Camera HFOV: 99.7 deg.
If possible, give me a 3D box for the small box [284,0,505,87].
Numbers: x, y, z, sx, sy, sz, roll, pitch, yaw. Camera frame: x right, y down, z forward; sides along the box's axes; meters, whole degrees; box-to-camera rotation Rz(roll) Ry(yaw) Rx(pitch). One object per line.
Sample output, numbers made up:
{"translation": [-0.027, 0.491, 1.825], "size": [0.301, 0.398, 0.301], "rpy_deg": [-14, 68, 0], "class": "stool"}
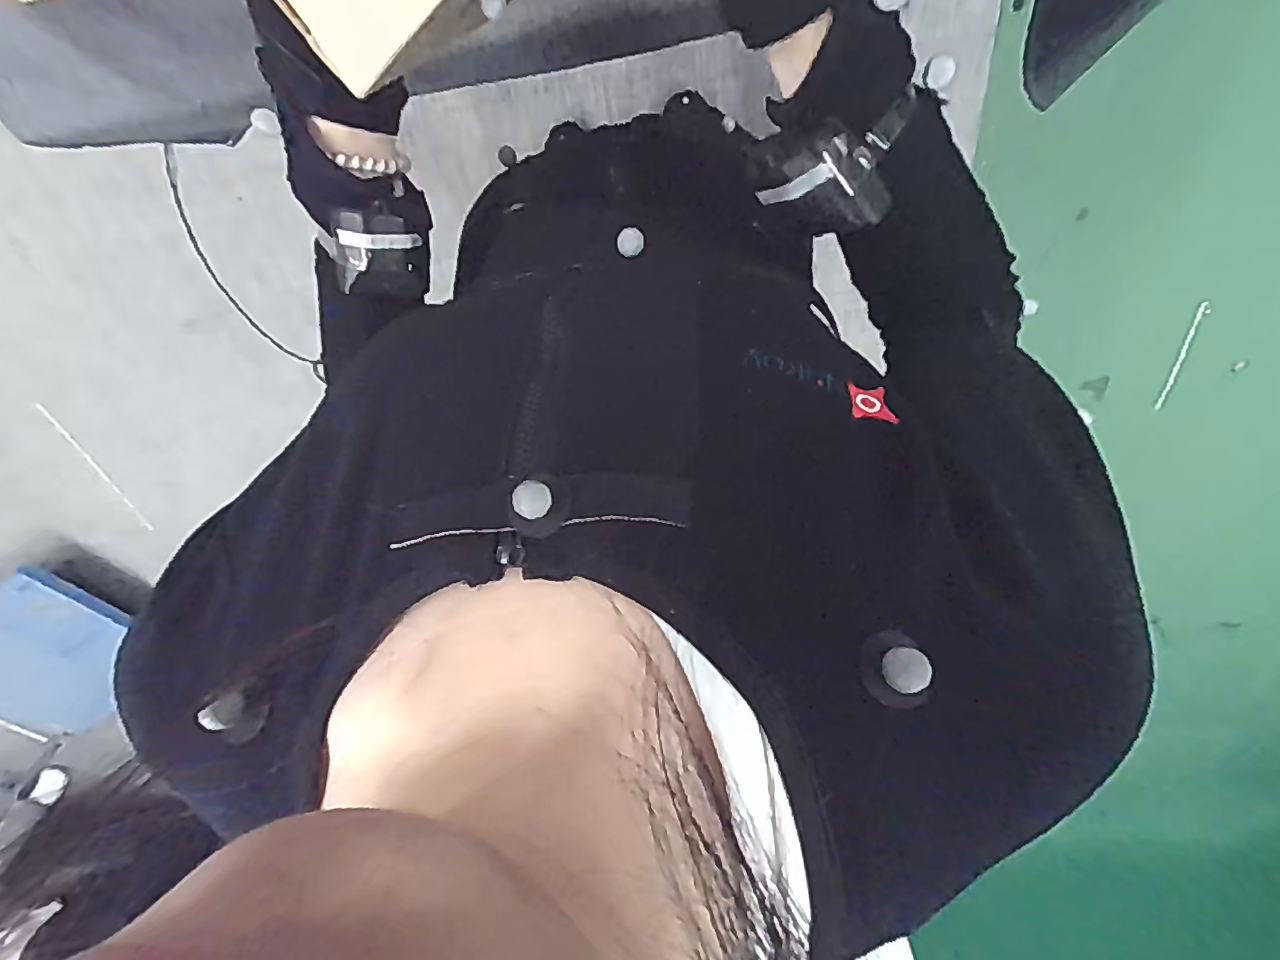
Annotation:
{"translation": [-0.096, -0.324, 0.230], "size": [0.179, 0.176, 0.168], "rpy_deg": [-11, 135, 35], "class": "small box"}
